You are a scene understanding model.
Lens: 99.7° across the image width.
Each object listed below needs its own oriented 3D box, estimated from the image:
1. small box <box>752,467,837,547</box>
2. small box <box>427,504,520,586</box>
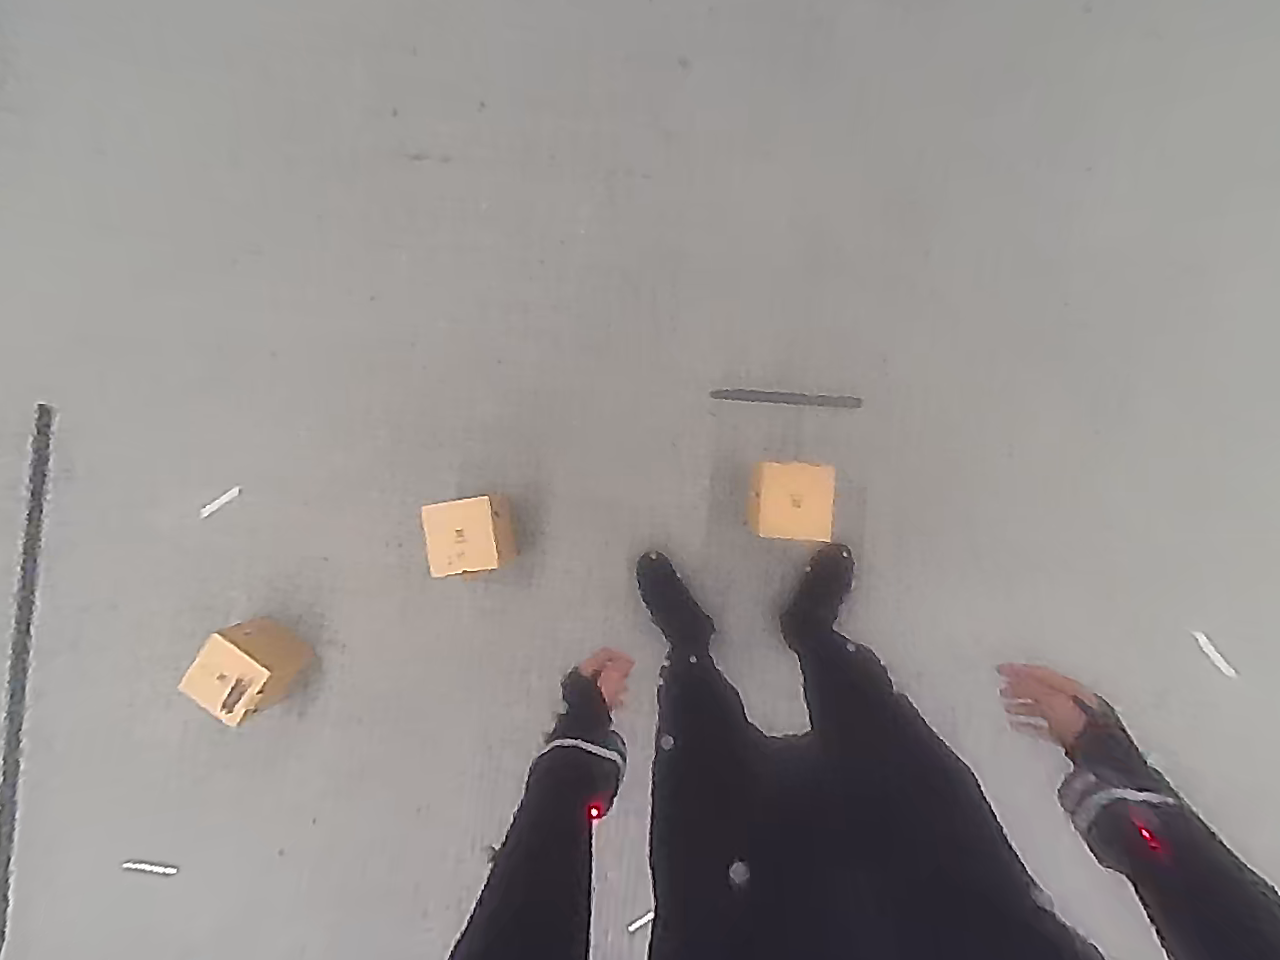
[{"bbox_3d":[0.369,0.063,1.316,0.168,0.176,0.179,3,89,3],"label":"small box"},{"bbox_3d":[-0.410,0.156,1.354,0.168,0.176,0.179,-10,89,3],"label":"small box"}]
